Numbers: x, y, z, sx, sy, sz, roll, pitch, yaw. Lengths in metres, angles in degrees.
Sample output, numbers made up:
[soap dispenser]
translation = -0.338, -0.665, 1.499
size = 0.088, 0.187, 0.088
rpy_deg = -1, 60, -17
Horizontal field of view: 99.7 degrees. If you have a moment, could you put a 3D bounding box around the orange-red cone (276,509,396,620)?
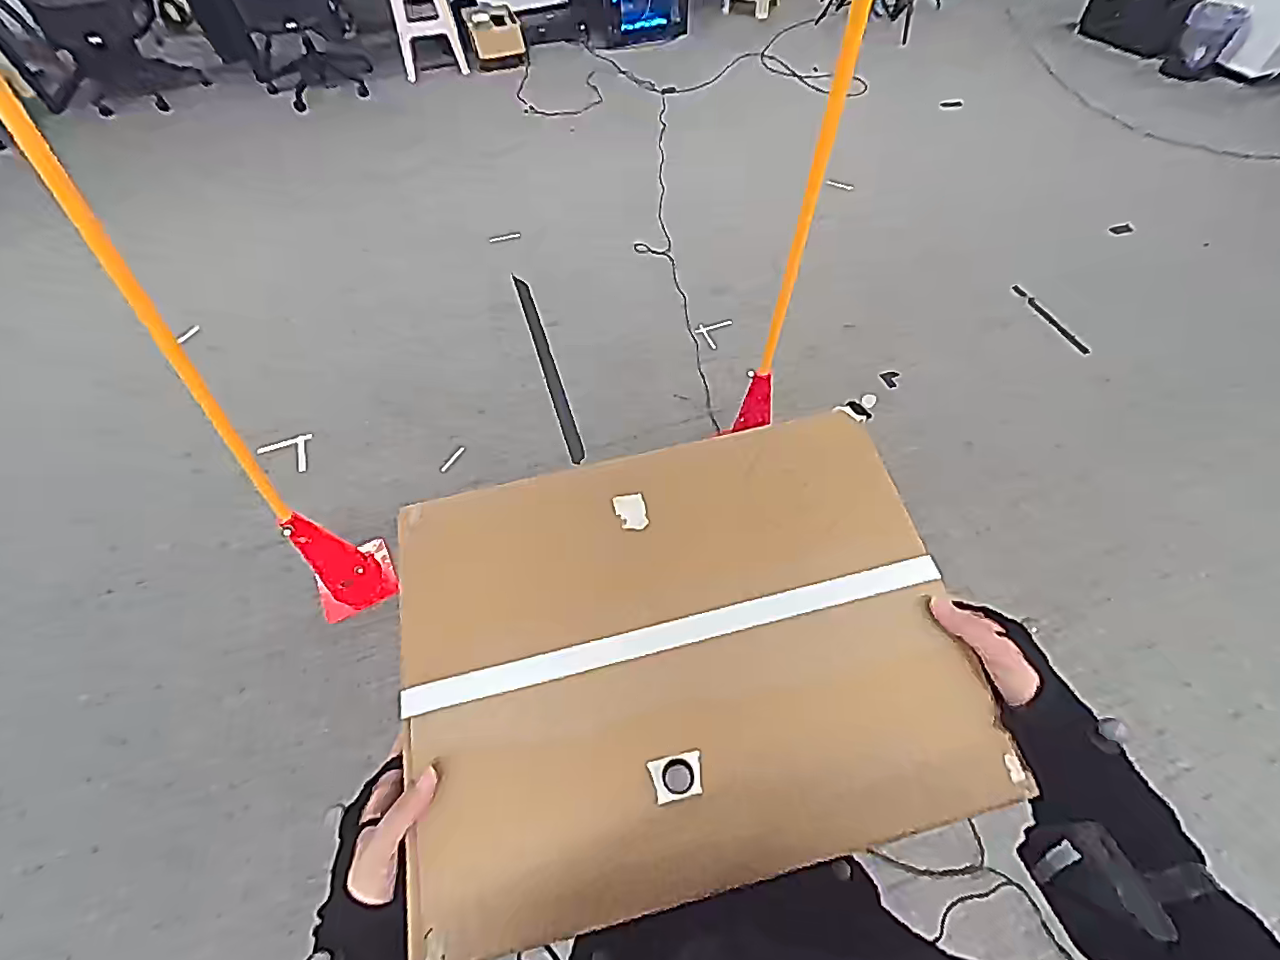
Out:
[orange-red cone]
translation = -0.799, 0.179, 1.366
size = 0.199, 0.360, 0.198
rpy_deg = -25, 58, -13
